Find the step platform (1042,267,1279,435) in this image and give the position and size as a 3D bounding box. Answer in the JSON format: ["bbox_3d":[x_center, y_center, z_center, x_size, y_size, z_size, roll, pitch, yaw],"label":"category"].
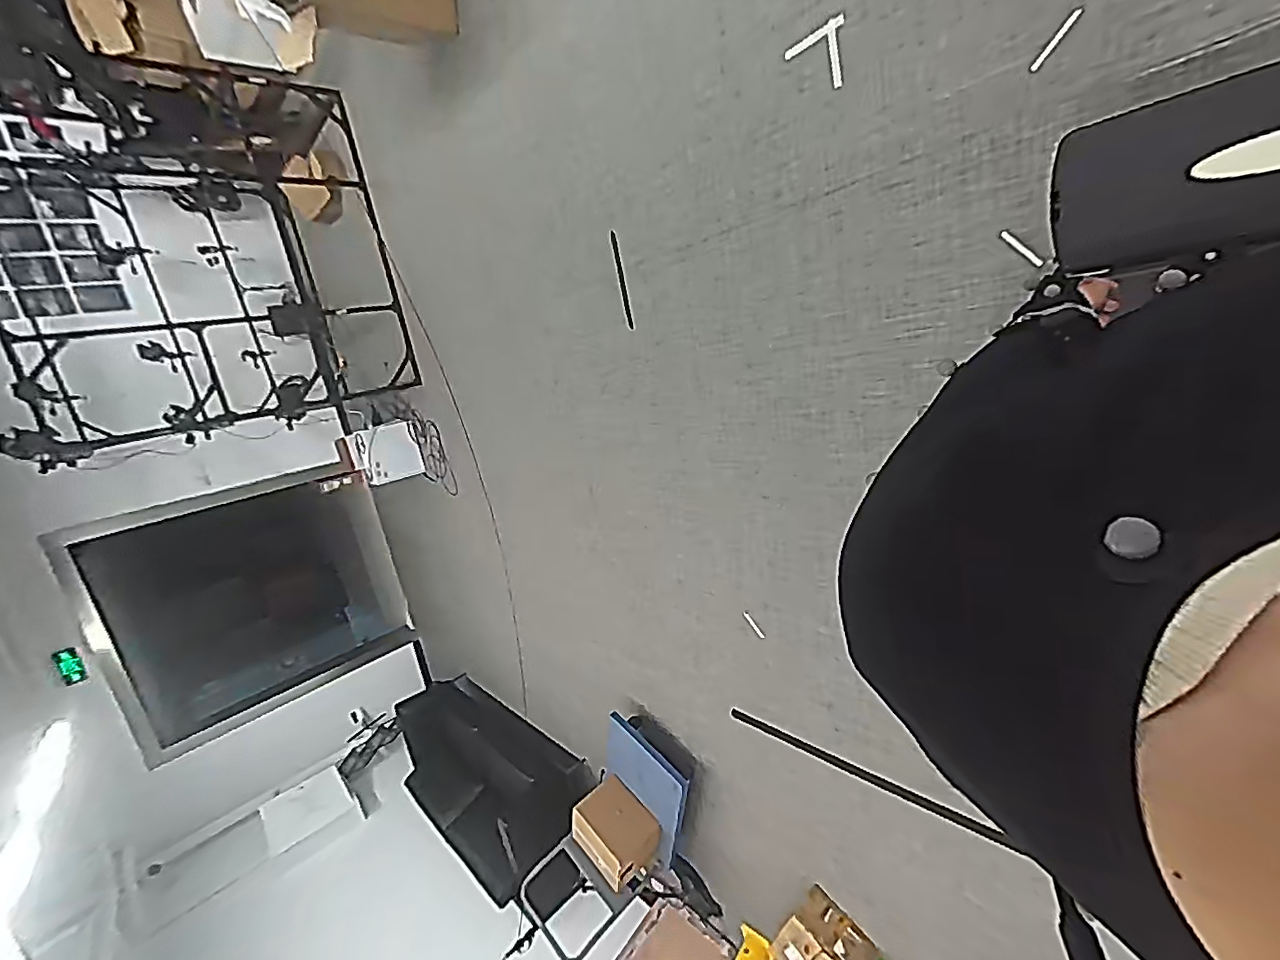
[{"bbox_3d":[1.134,-0.231,0.951,0.684,0.204,0.286,12,114,48],"label":"step platform"}]
